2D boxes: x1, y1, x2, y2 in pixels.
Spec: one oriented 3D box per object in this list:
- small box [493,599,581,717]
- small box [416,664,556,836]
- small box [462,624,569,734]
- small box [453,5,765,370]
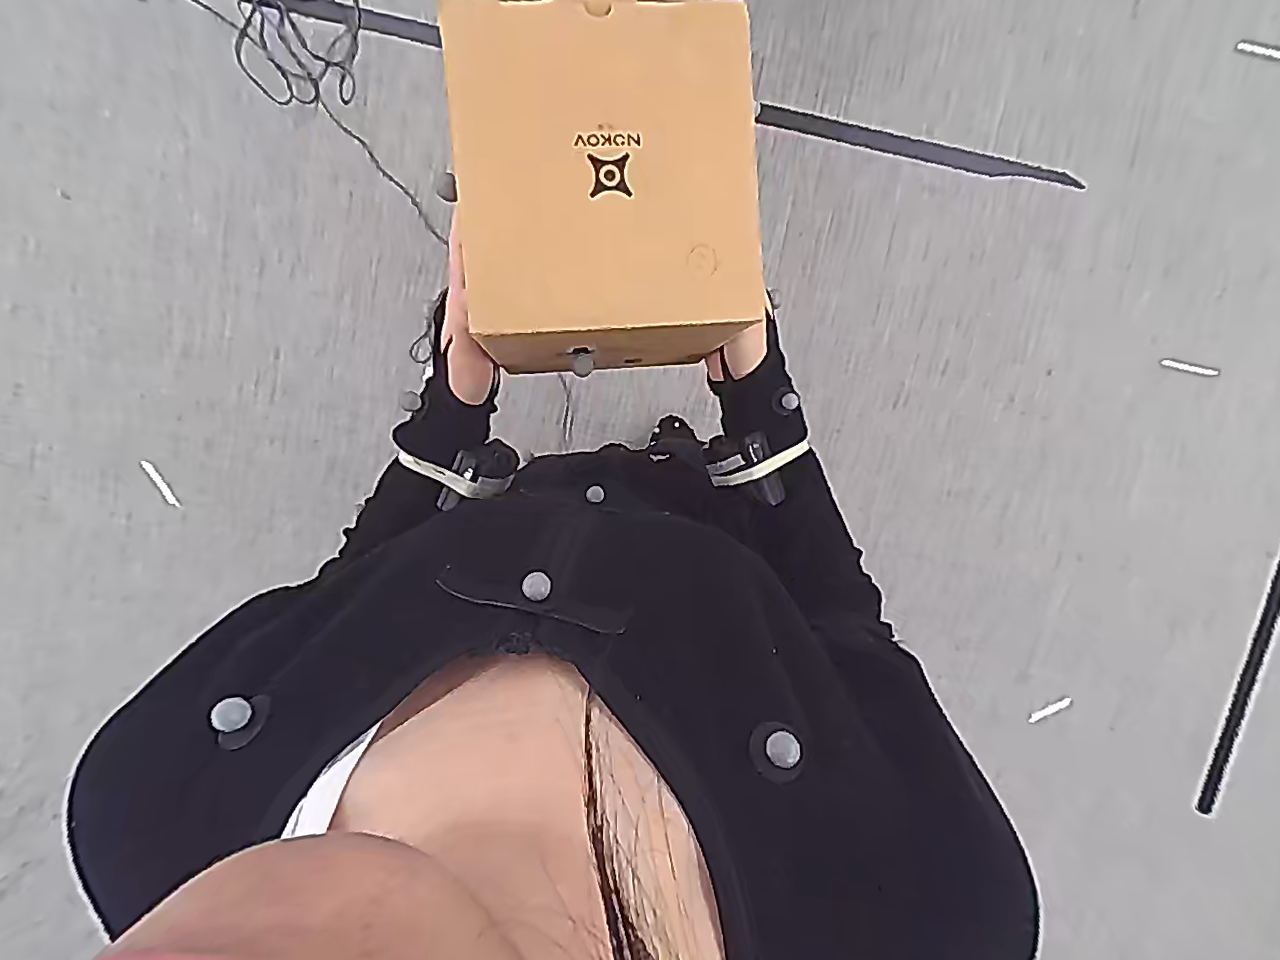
[{"bbox_3d":[-0.224,0.373,1.155,0.168,0.176,0.179,9,94,-1],"label":"small box"},{"bbox_3d":[-0.226,0.400,0.829,0.168,0.176,0.179,4,95,2],"label":"small box"},{"bbox_3d":[-0.228,0.381,0.993,0.168,0.176,0.179,8,96,1],"label":"small box"},{"bbox_3d":[-0.022,-0.175,0.379,0.168,0.176,0.179,-5,93,-6],"label":"small box"}]
